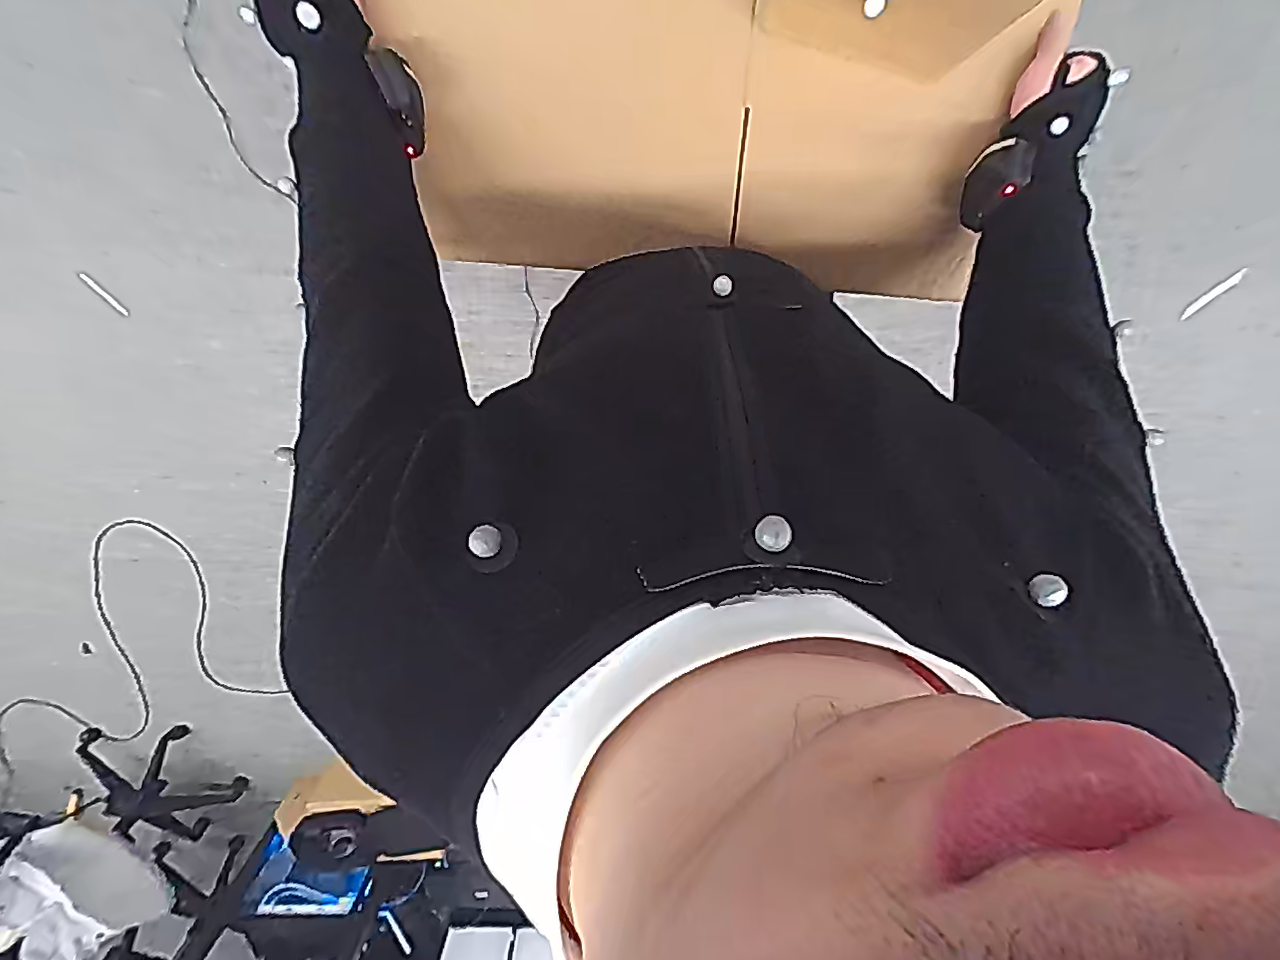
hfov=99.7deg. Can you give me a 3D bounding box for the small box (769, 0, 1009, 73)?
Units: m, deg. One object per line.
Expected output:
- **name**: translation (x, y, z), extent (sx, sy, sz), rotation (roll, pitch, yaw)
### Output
- **small box**: translation (0.216, -0.453, 0.412), extent (0.179, 0.176, 0.168), rotation (13, 107, -5)
